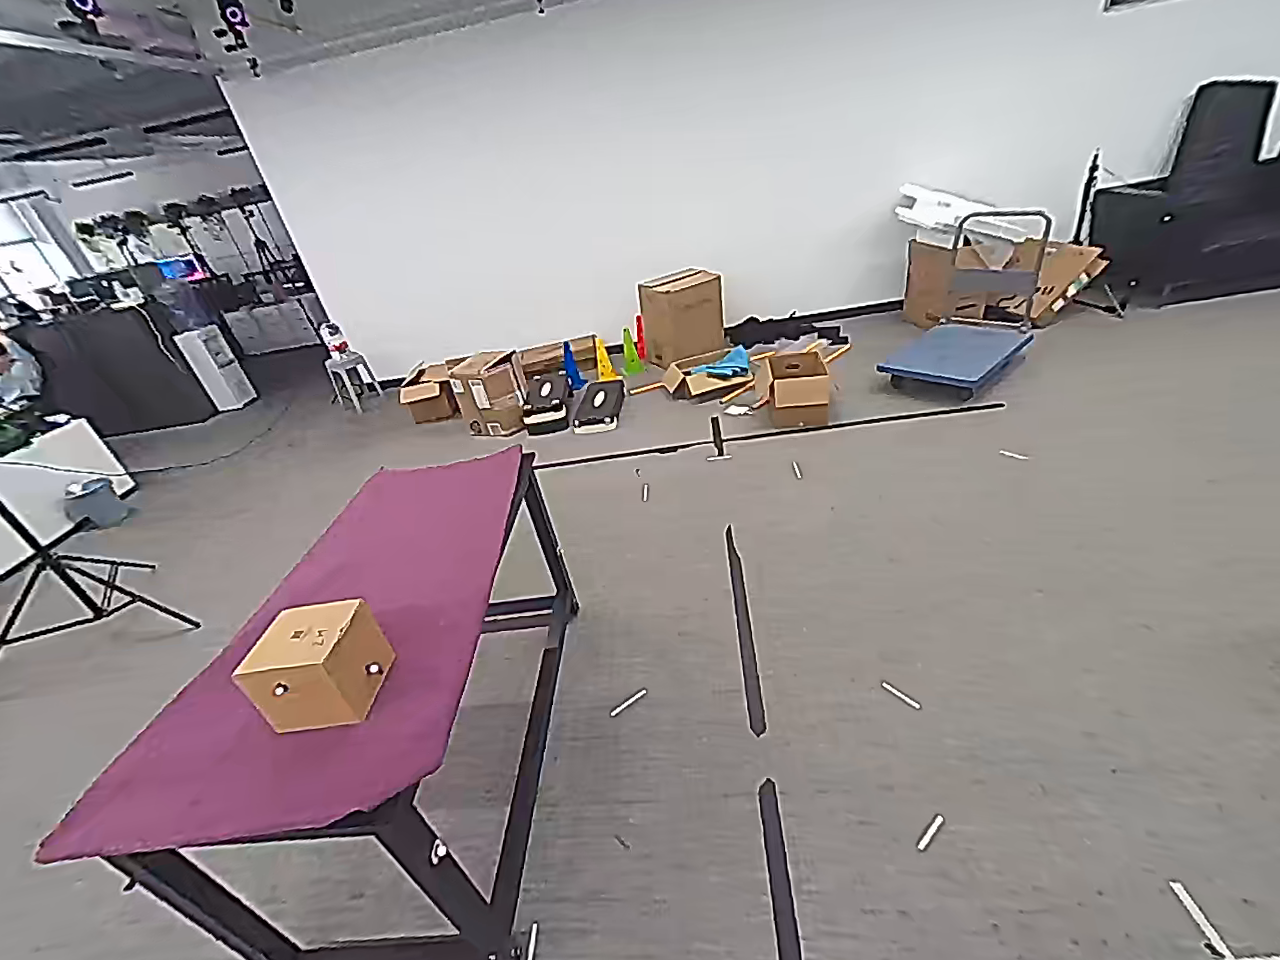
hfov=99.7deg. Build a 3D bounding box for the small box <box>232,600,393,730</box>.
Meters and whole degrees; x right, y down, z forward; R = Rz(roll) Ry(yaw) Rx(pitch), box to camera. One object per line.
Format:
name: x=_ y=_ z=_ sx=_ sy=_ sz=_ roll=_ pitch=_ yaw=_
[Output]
small box: x=-0.620 y=0.361 z=1.049 sx=0.179 sy=0.176 sz=0.168 roll=-8 pitch=30 yaw=4
